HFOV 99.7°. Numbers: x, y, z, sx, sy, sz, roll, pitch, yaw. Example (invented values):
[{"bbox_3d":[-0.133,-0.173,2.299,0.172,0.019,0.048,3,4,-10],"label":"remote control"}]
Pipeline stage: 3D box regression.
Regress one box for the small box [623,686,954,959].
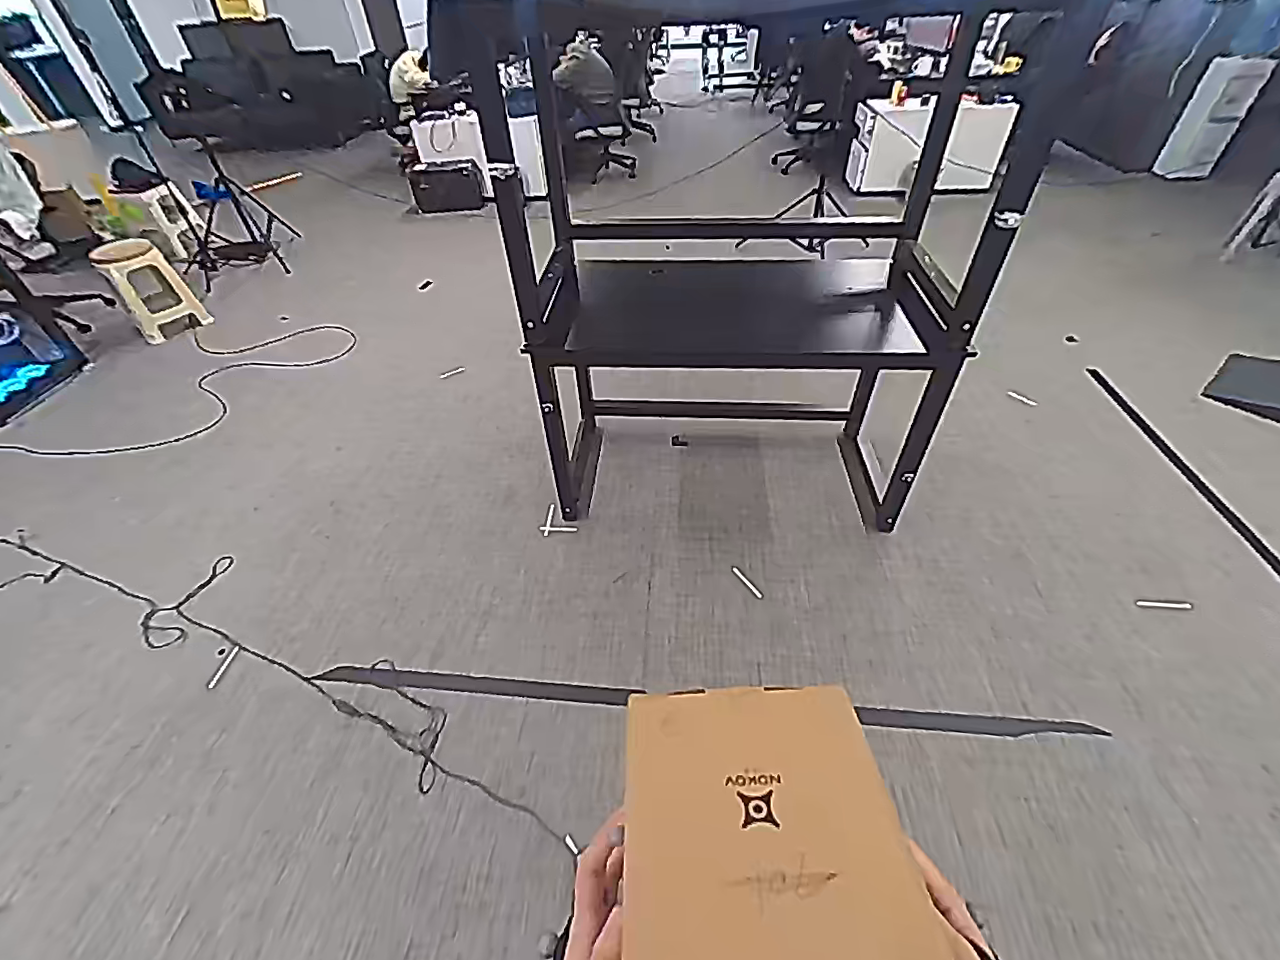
[{"bbox_3d":[0.077,0.271,0.373,0.168,0.176,0.179,-4,29,2],"label":"small box"}]
